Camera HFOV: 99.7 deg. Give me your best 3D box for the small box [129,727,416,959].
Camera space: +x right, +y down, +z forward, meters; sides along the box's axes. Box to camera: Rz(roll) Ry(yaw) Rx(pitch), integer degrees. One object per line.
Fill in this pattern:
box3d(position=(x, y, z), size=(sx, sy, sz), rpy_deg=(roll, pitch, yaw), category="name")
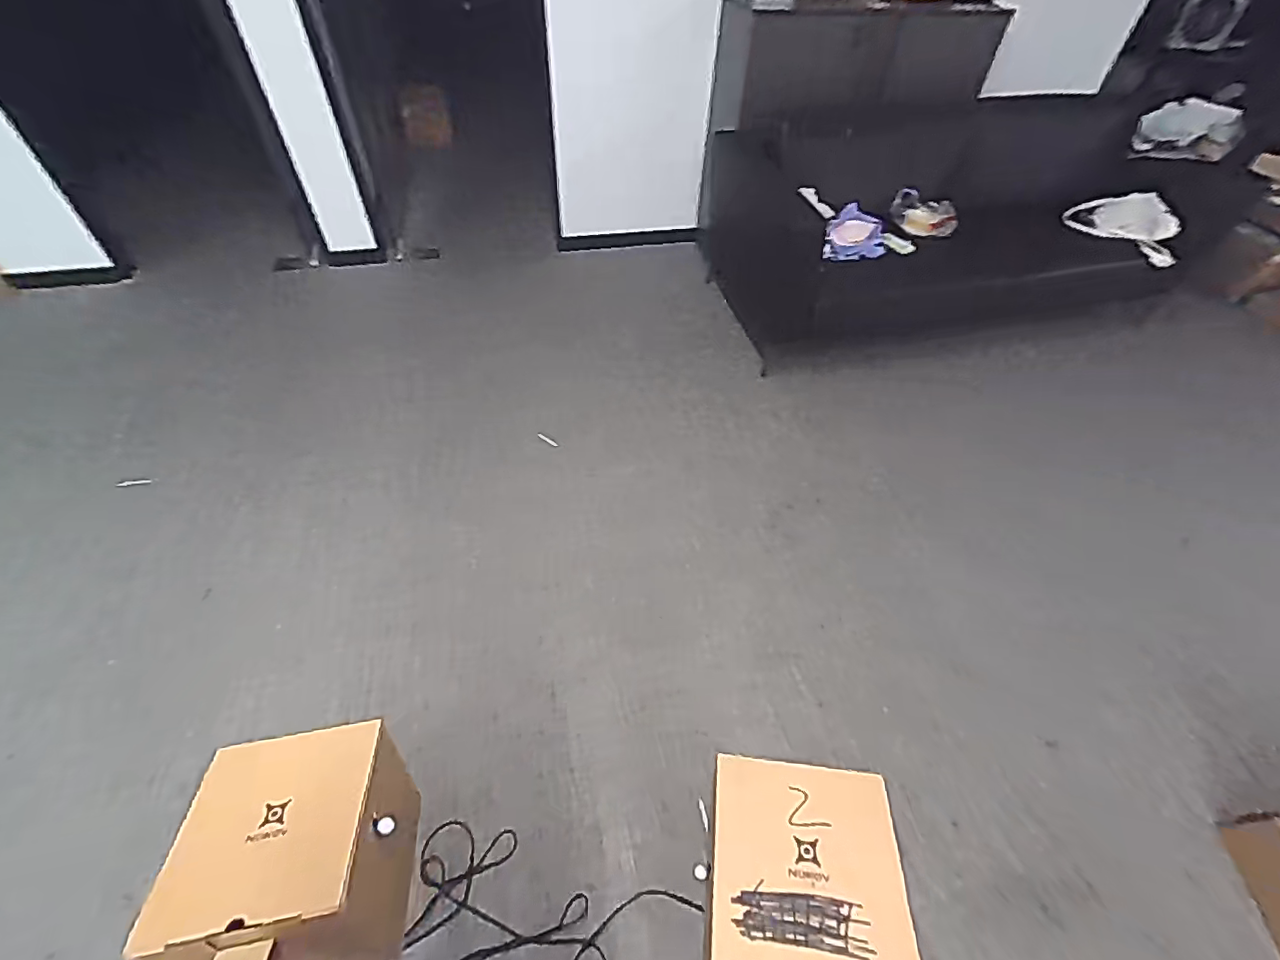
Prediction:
box3d(position=(-0.342, 0.392, 0.554), size=(0.168, 0.176, 0.179), rpy_deg=(-8, 35, -7), category="small box")
